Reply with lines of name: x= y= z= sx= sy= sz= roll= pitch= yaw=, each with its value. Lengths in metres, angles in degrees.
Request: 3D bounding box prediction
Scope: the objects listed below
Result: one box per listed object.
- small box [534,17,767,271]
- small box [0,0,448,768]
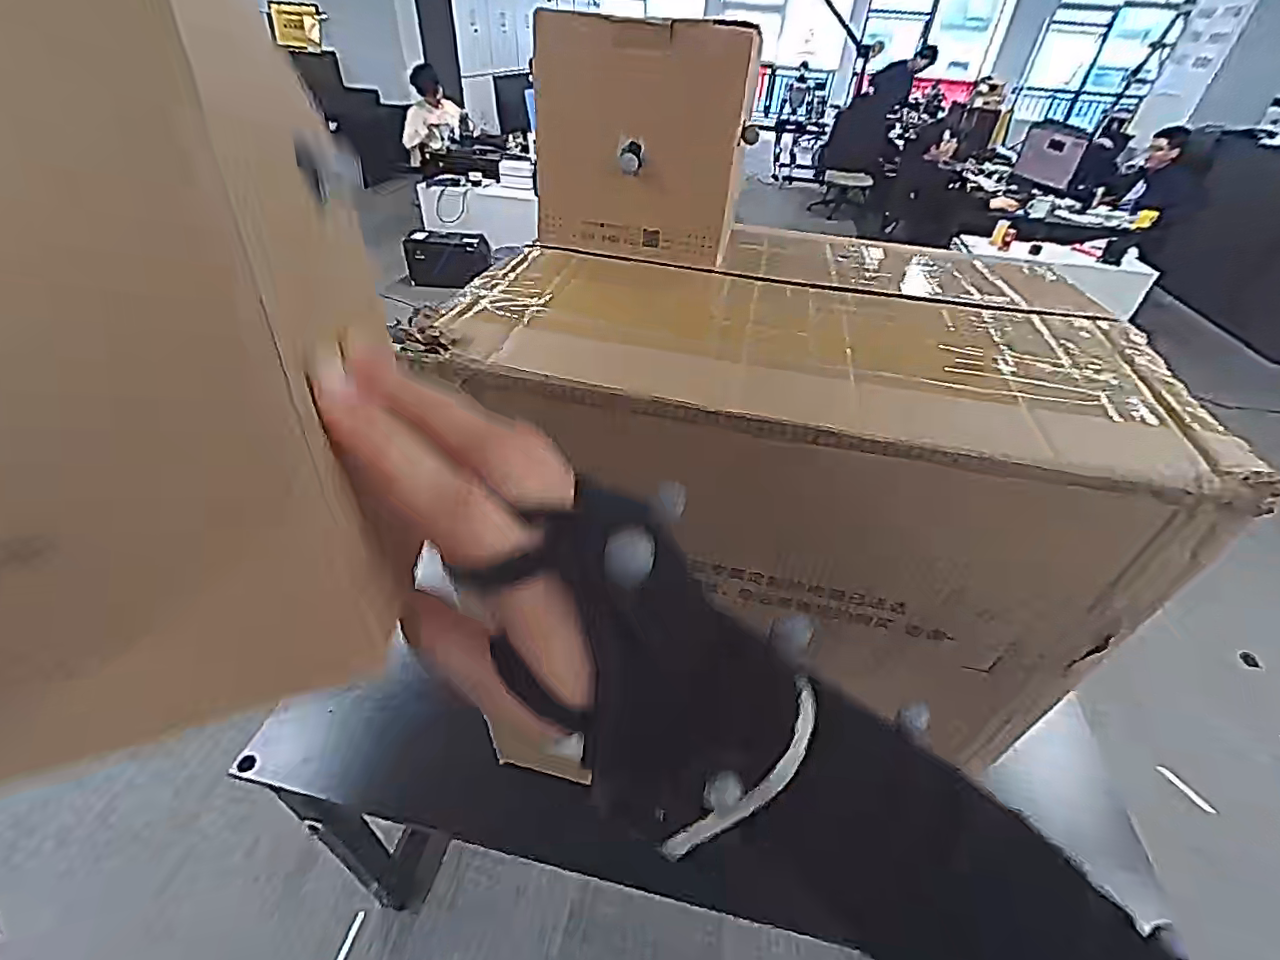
small box: x=0.015 y=-0.306 z=0.497 sx=0.168 sy=0.176 sz=0.179 roll=11 pitch=39 yaw=7
small box: x=-0.163 y=-0.042 z=0.154 sx=0.168 sy=0.179 sz=0.176 roll=-15 pitch=15 yaw=-12
